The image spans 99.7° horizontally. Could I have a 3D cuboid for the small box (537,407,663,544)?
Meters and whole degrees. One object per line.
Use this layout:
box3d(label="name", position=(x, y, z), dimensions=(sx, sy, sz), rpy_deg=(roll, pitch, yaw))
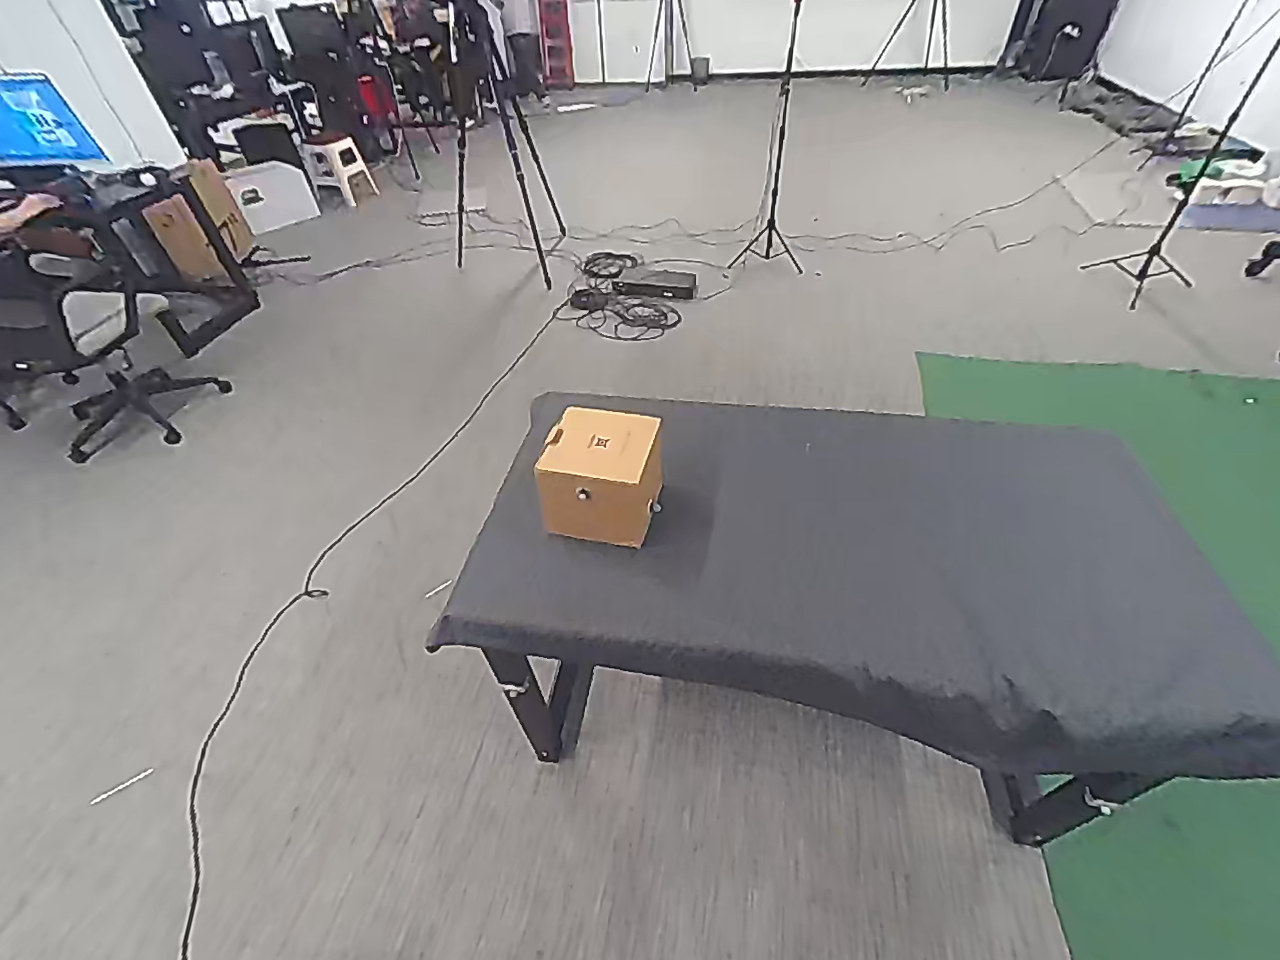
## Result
box3d(label="small box", position=(-0.061, -0.006, 0.961), dimensions=(0.179, 0.176, 0.168), rpy_deg=(9, 47, 10))
